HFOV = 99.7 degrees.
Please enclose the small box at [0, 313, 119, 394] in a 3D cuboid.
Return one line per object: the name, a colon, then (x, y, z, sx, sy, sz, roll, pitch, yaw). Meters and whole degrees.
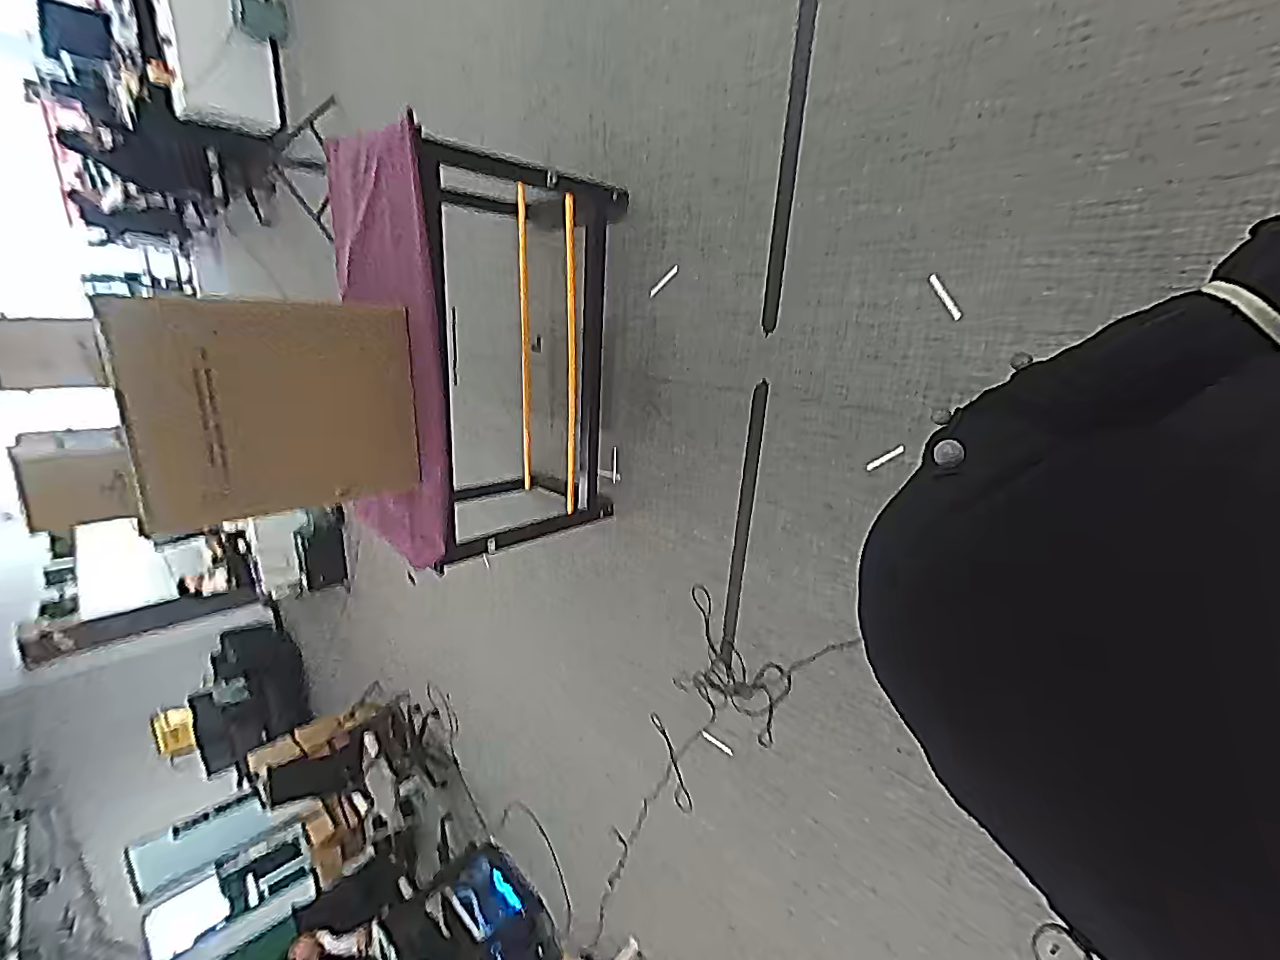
small box: (-1.305, -0.289, 1.215, 0.179, 0.176, 0.168, 15, 111, 44)
